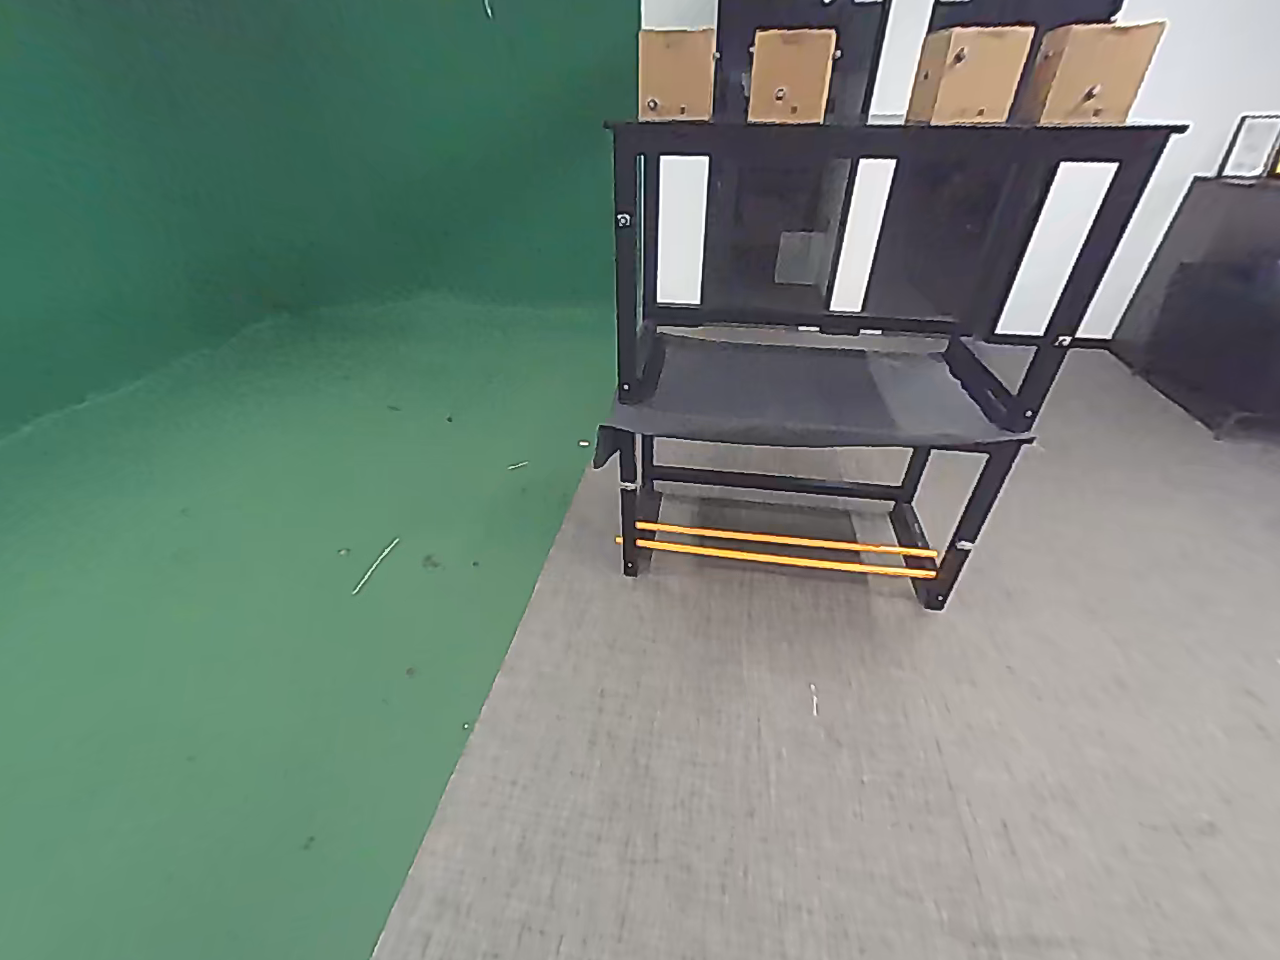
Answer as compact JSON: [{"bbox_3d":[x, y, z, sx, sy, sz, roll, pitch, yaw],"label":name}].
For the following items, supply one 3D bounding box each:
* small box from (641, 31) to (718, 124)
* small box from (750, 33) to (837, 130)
[{"bbox_3d":[0.094,-0.952,1.289,0.168,0.176,0.179,5,35,6],"label":"small box"},{"bbox_3d":[0.357,-0.925,1.260,0.168,0.176,0.179,10,37,13],"label":"small box"}]
